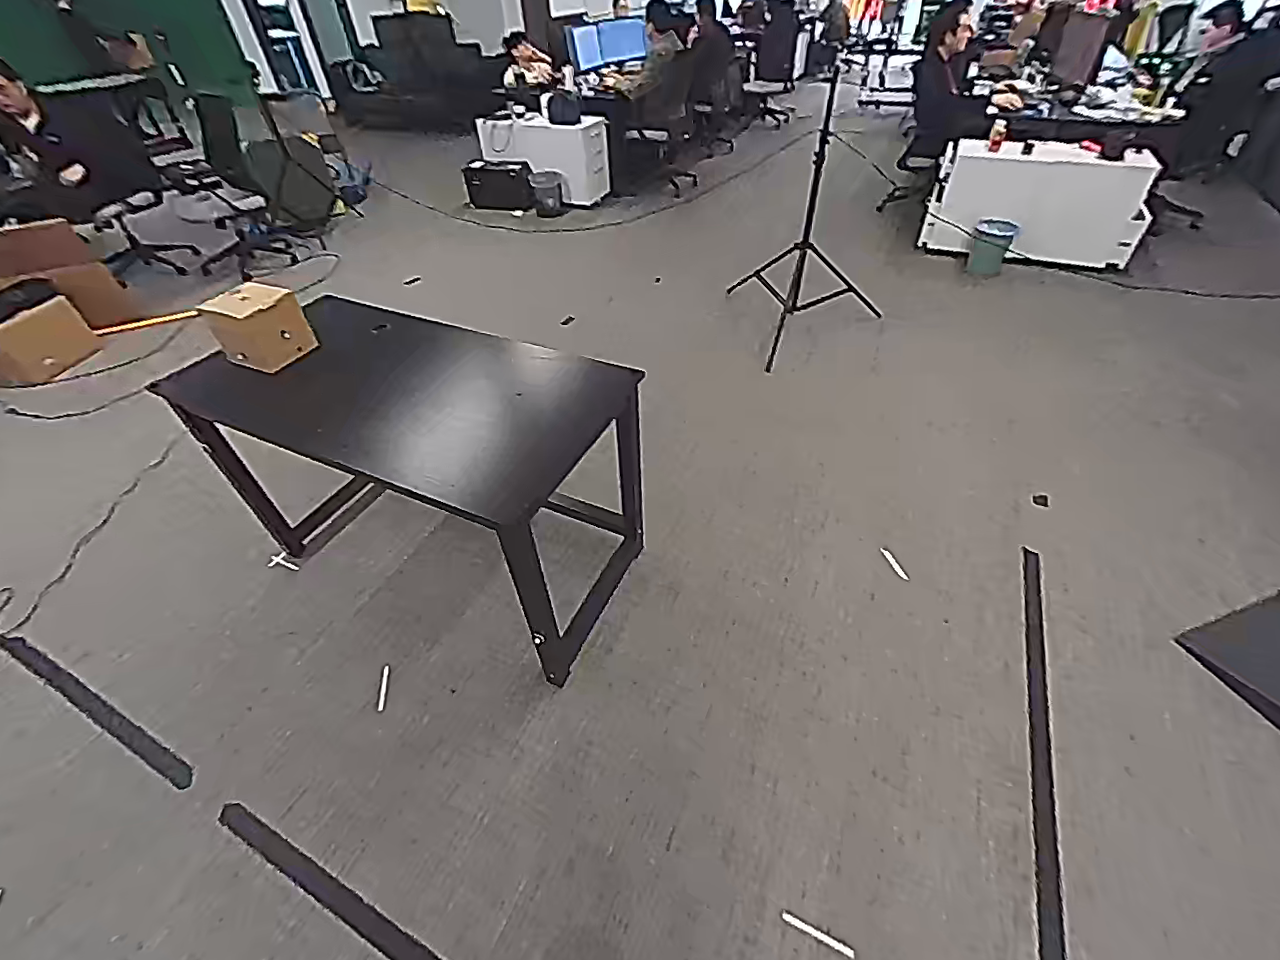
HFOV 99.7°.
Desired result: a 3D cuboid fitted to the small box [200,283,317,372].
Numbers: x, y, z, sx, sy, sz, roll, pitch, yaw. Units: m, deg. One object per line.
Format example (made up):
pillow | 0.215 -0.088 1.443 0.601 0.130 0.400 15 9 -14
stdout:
small box | -1.050 -0.422 1.507 0.179 0.176 0.168 16 46 17
